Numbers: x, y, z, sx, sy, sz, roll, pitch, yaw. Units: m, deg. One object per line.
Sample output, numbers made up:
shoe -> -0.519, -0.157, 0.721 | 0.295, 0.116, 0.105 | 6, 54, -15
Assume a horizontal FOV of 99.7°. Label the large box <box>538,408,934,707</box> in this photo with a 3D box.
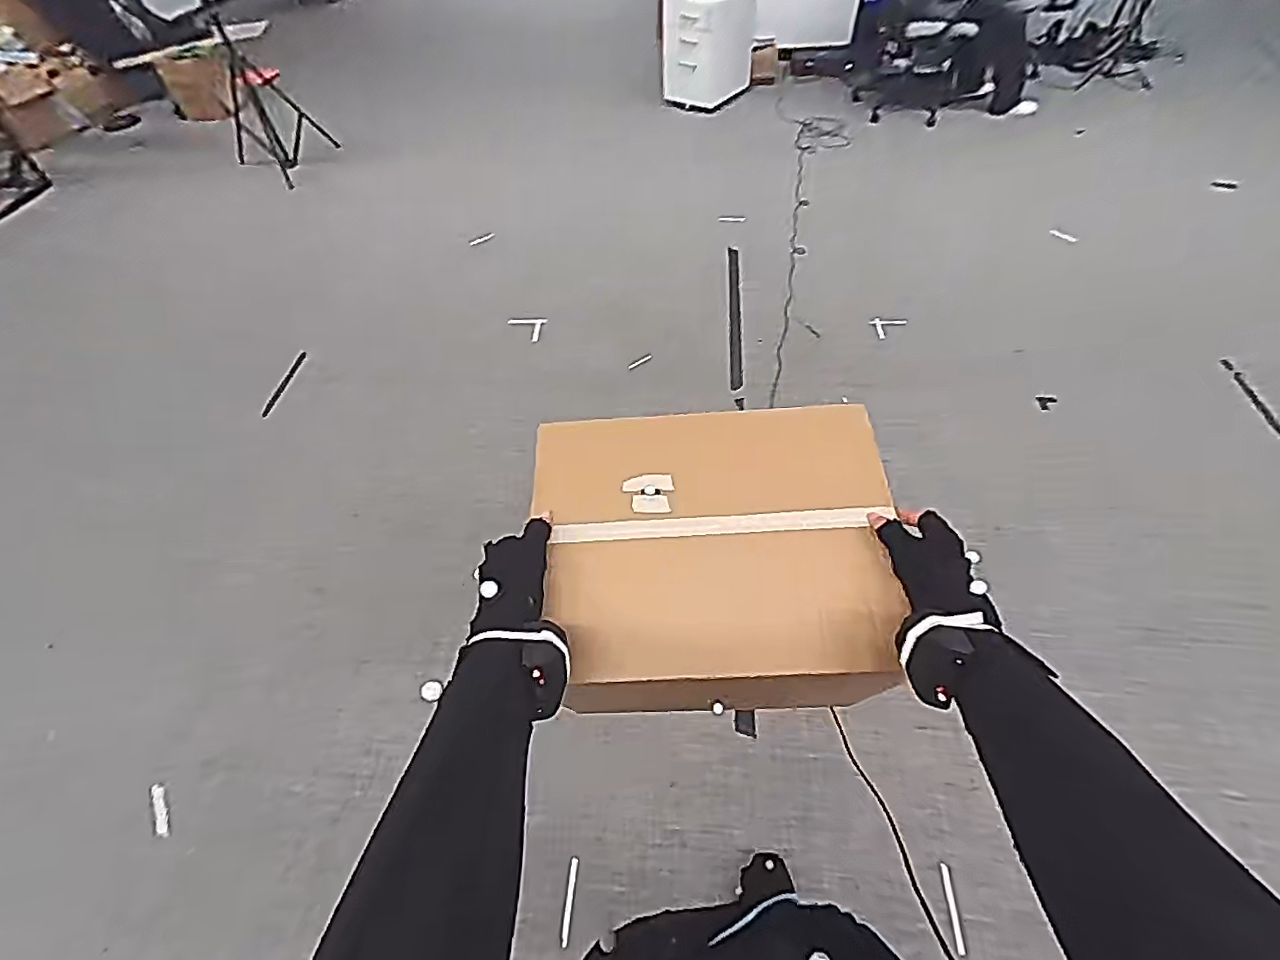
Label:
large box -> 0.102, 0.128, 0.740 | 0.408, 0.320, 0.320 | -3, 61, 4
